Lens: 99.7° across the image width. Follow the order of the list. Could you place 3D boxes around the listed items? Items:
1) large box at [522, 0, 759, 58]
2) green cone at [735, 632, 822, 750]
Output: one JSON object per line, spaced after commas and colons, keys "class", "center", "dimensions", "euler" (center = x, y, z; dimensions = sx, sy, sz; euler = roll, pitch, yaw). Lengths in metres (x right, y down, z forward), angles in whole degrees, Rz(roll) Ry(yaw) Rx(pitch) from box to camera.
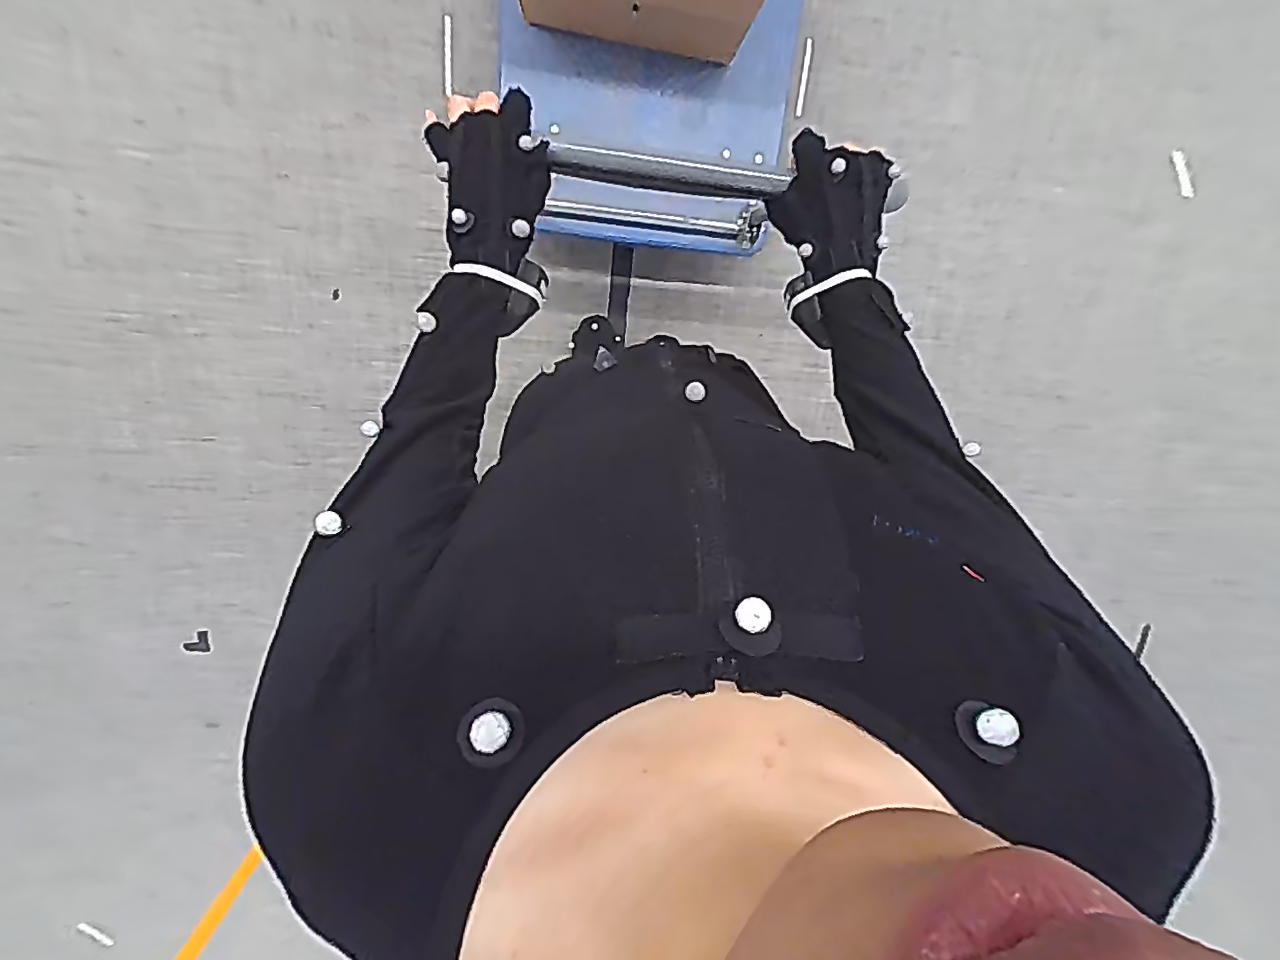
{"class": "large box", "center": [0.008, -0.952, 0.875], "dimensions": [0.408, 0.320, 0.320], "euler": [6, 107, -6]}
{"class": "green cone", "center": [0.427, 0.627, 1.557], "dimensions": [0.202, 0.368, 0.200], "euler": [7, 107, -8]}
